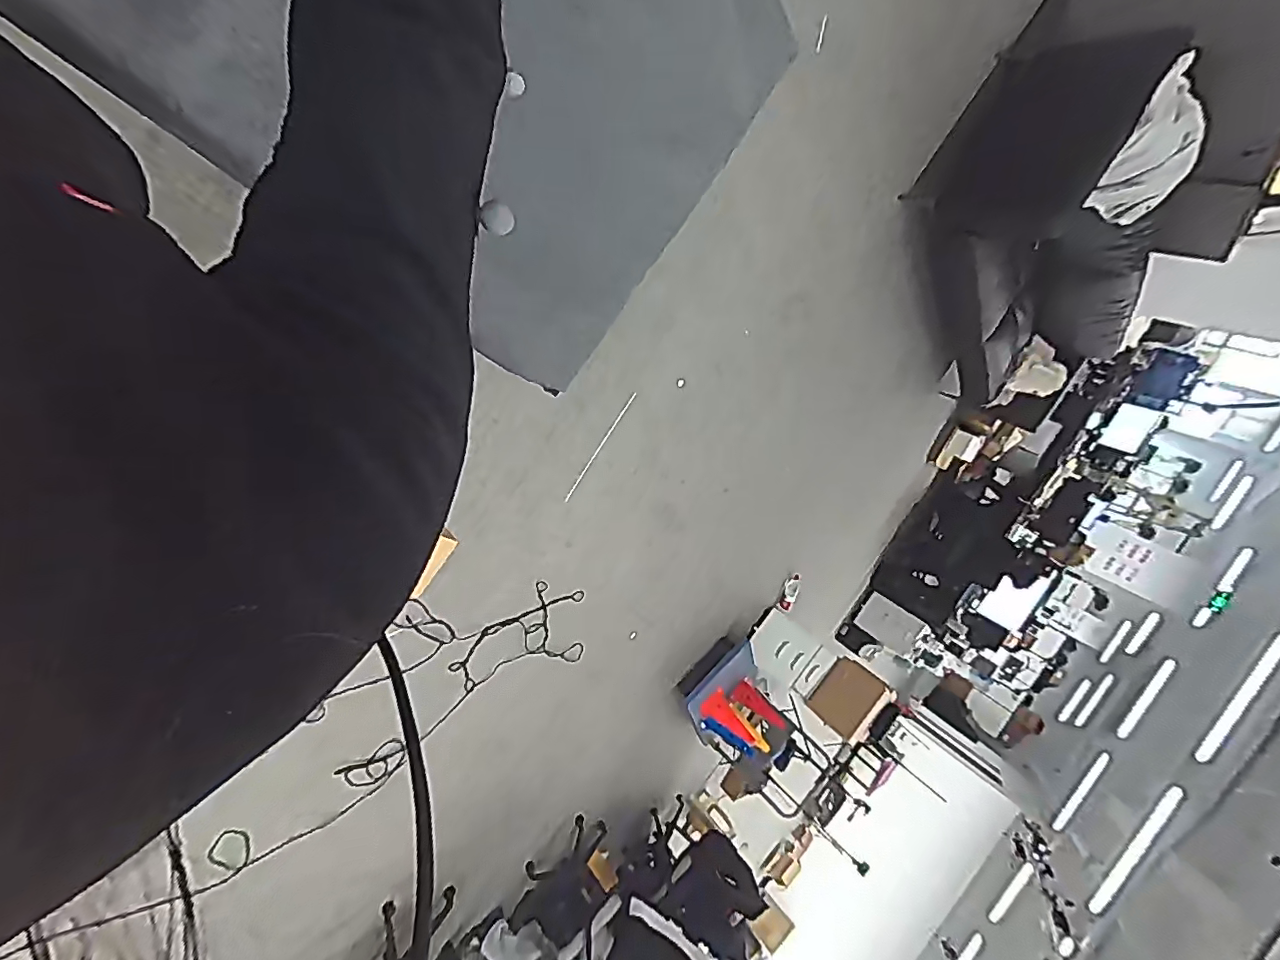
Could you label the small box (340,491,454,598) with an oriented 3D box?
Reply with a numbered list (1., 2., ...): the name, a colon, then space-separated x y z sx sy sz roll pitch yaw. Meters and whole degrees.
1. small box: -0.597 0.156 1.318 0.179 0.176 0.168 -56 143 -1
